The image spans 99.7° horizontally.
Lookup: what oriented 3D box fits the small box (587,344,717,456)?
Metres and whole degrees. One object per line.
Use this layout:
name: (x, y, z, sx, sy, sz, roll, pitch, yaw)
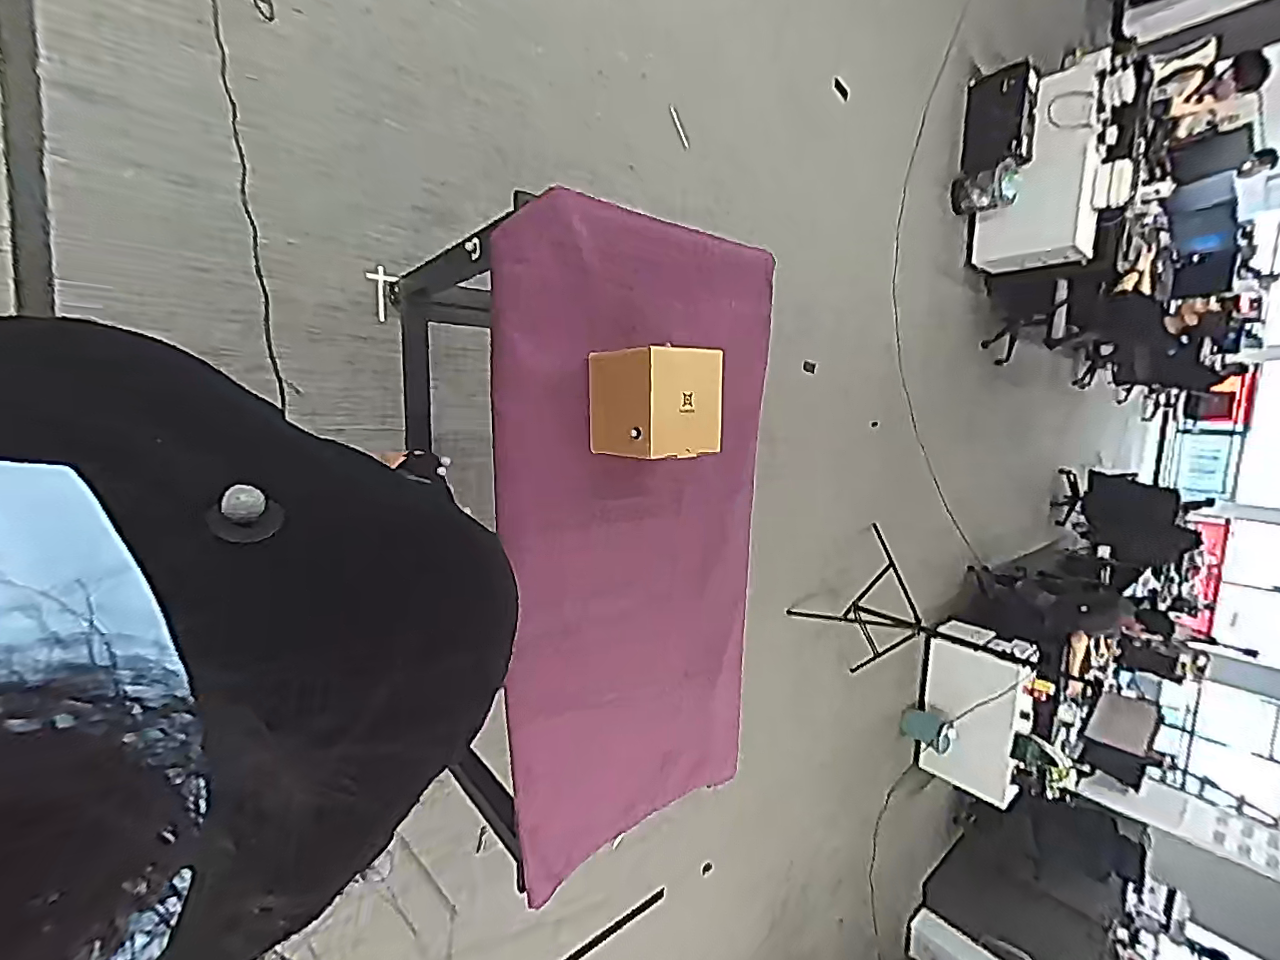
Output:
small box: (0.018, -0.140, 0.947, 0.168, 0.176, 0.179, -8, 103, -40)
